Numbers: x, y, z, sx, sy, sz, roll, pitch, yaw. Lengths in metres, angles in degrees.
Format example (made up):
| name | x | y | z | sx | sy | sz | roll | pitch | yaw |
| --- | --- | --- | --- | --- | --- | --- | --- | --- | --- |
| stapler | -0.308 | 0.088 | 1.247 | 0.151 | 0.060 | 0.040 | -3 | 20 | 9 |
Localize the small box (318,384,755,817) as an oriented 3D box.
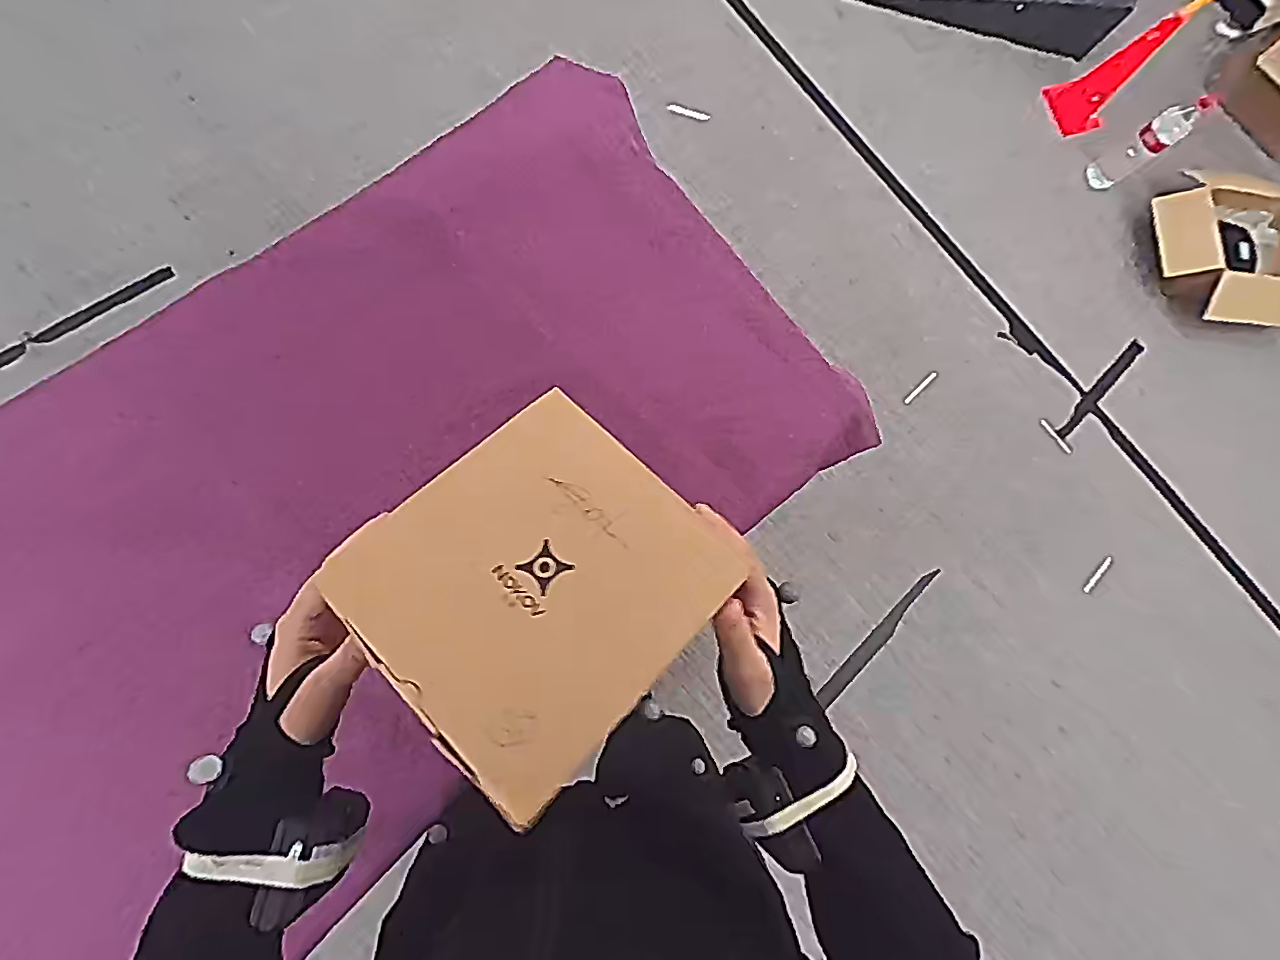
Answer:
| name | x | y | z | sx | sy | sz | roll | pitch | yaw |
| --- | --- | --- | --- | --- | --- | --- | --- | --- | --- |
| small box | -0.057 | 0.079 | 0.360 | 0.168 | 0.176 | 0.179 | 41 | 67 | 12 |
